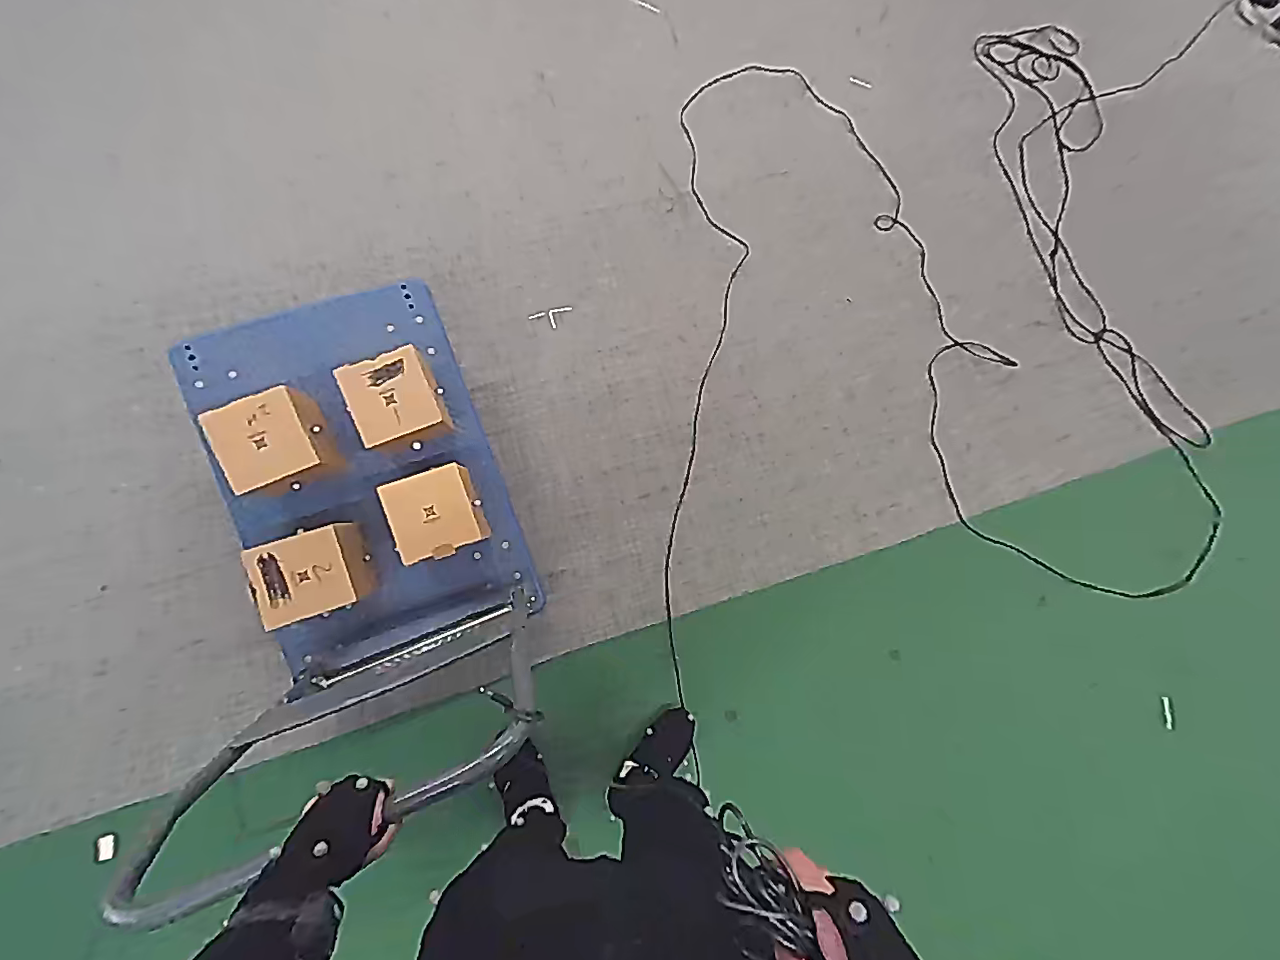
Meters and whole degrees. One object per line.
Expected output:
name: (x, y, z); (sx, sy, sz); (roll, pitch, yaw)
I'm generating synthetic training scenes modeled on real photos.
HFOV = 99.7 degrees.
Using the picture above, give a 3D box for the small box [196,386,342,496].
small box: (-0.765, -0.076, 1.138); (0.168, 0.176, 0.179); (-25, 92, -12)

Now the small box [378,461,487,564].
small box: (-0.449, 0.070, 1.195); (0.168, 0.176, 0.179); (-20, 92, -11)

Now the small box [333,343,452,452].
small box: (-0.533, -0.173, 1.187); (0.168, 0.176, 0.179); (-23, 93, -10)
